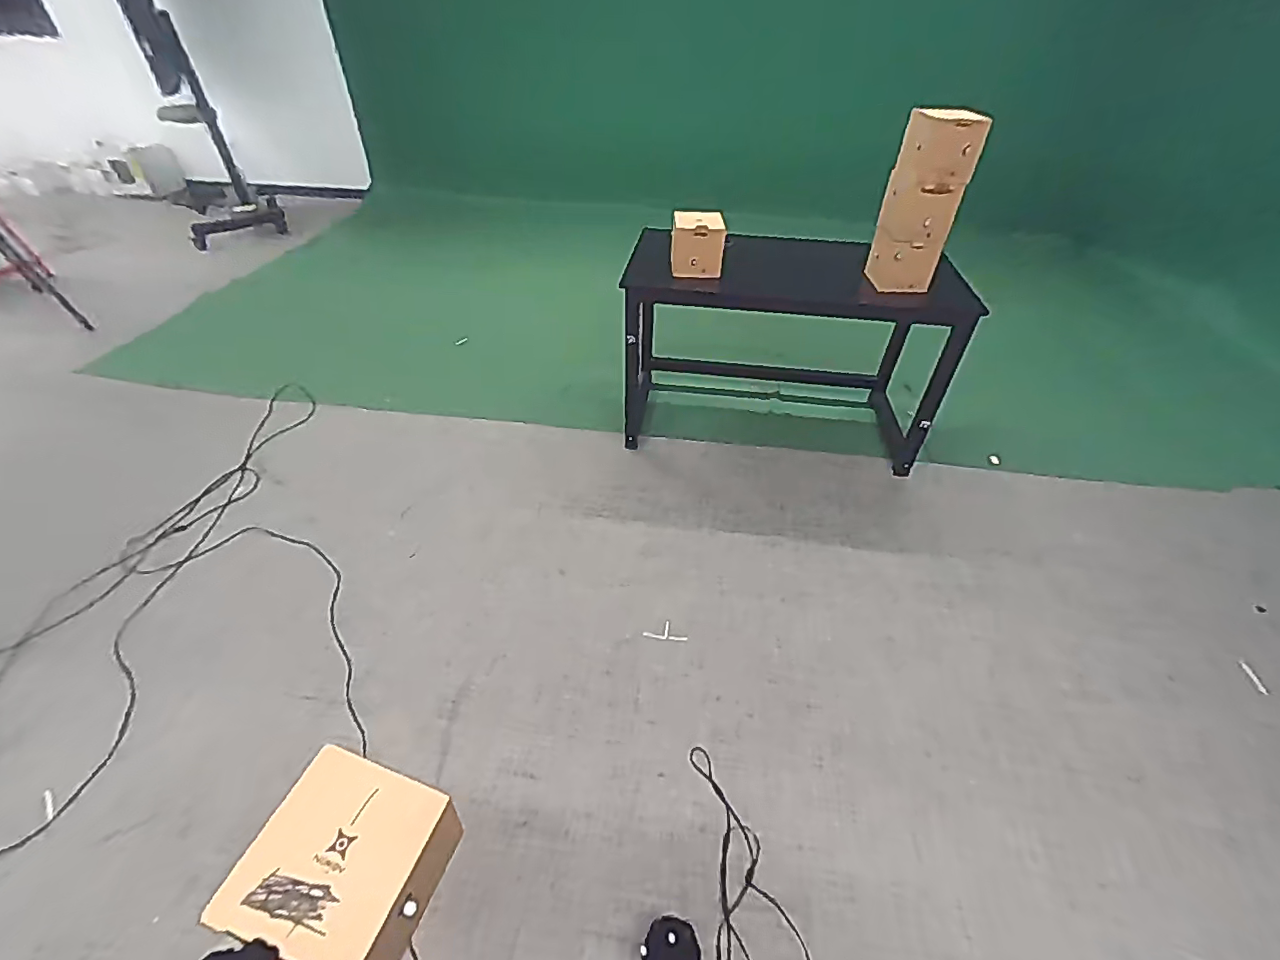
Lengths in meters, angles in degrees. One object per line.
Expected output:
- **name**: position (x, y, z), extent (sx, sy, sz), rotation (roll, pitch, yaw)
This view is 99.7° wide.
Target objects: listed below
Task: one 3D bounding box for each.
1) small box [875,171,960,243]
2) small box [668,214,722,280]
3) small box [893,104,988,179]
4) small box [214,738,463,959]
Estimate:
- **small box**: position (0.879, -0.877, 1.736), extent (0.168, 0.176, 0.179), rotation (0, 42, 0)
- **small box**: position (0.189, -0.823, 1.908), extent (0.168, 0.176, 0.179), rotation (1, 43, -2)
- **small box**: position (0.888, -1.011, 1.616), extent (0.168, 0.176, 0.179), rotation (1, 41, -1)
- **small box**: position (-0.323, 0.442, 0.627), extent (0.168, 0.176, 0.179), rotation (19, 45, 7)
